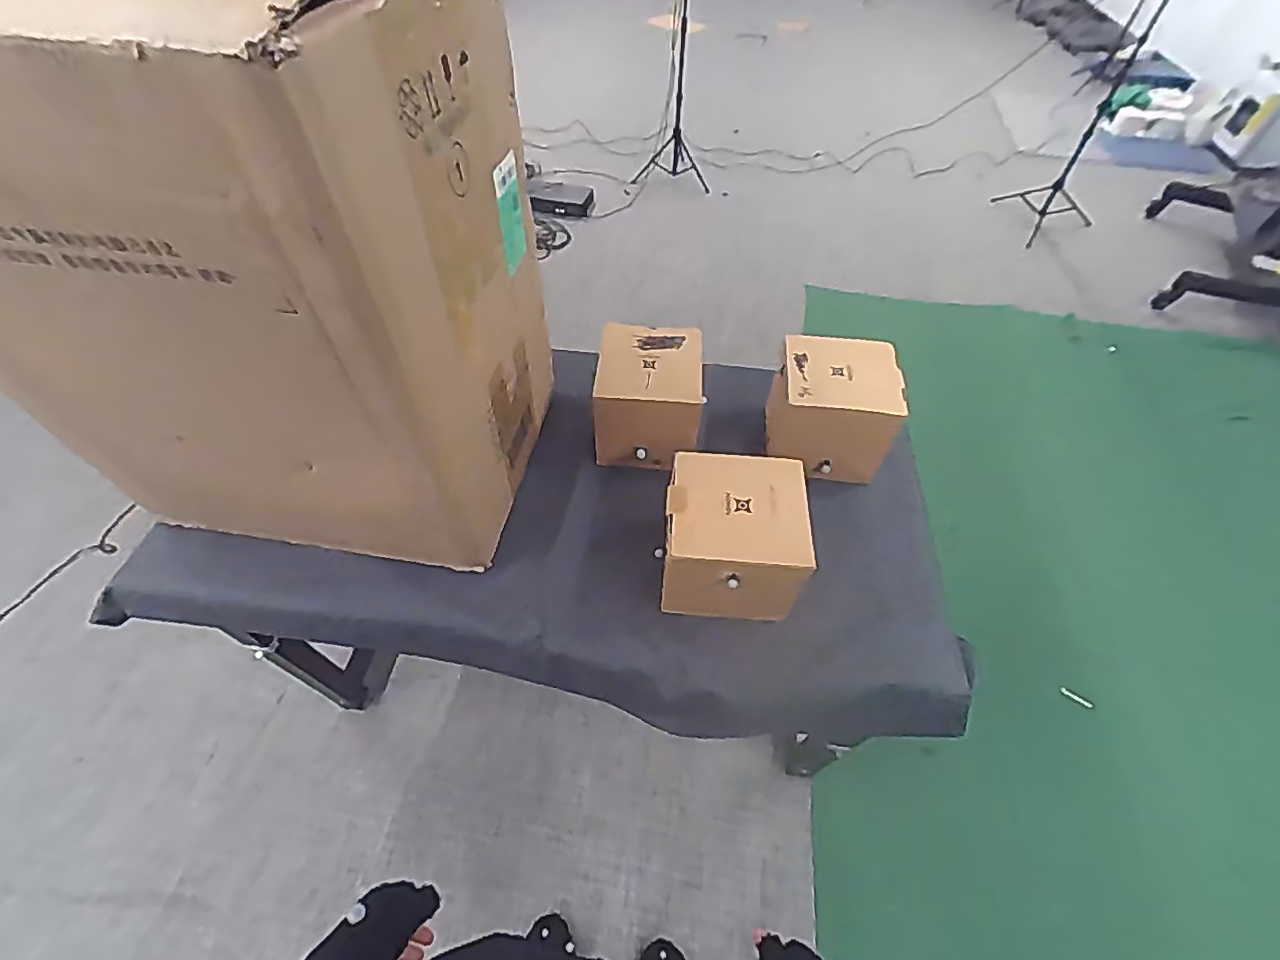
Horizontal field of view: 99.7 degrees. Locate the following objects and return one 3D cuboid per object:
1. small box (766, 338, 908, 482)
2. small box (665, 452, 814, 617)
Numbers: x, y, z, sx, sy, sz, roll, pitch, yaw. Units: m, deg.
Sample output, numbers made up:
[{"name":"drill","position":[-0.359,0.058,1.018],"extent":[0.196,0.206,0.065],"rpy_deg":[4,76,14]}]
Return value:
[{"name":"small box","position":[0.318,-0.113,0.910],"extent":[0.179,0.176,0.168],"rpy_deg":[7,51,4]},{"name":"small box","position":[0.129,0.081,0.761],"extent":[0.179,0.176,0.168],"rpy_deg":[5,54,1]}]
